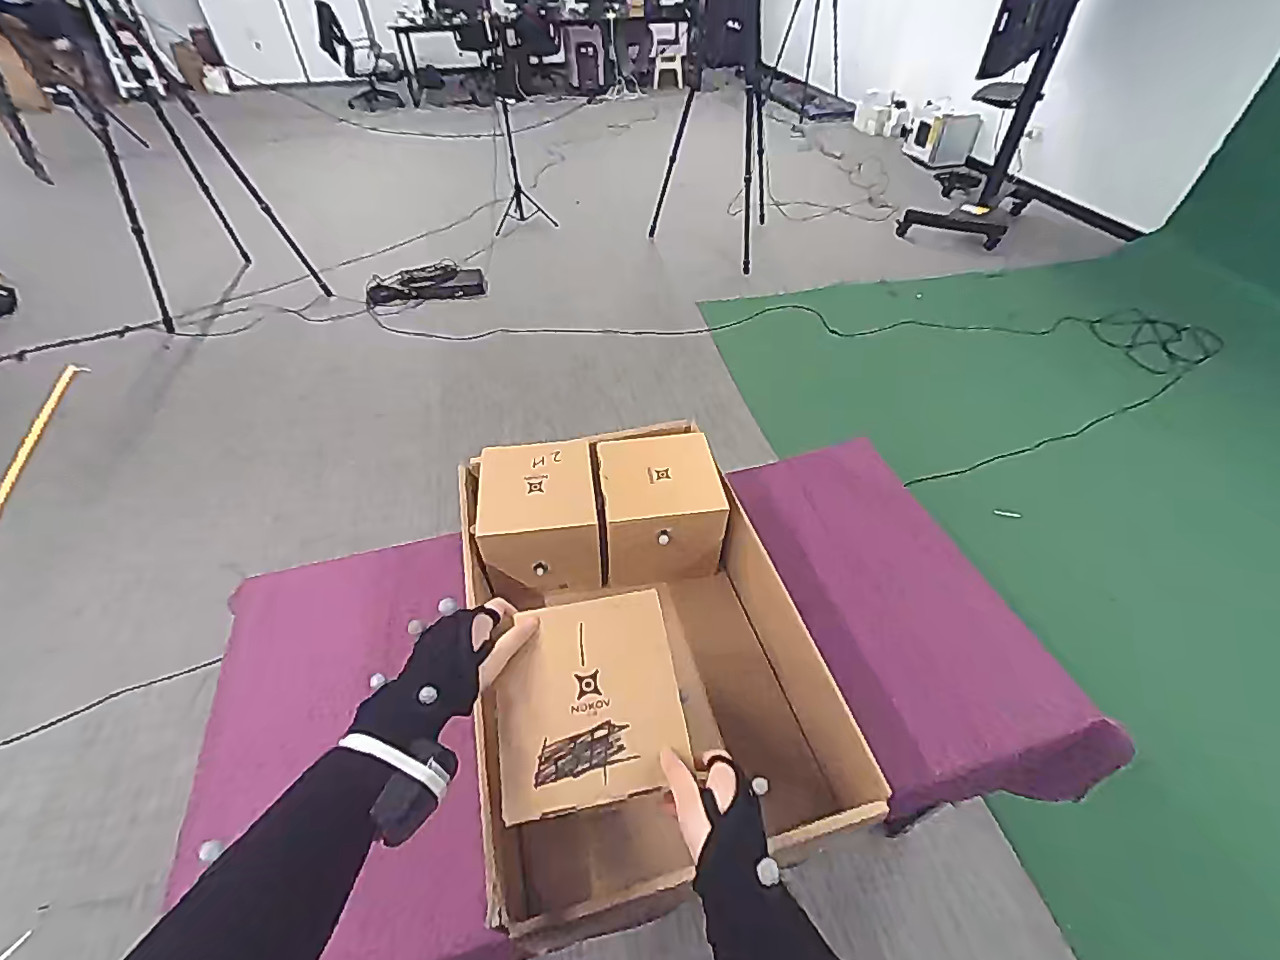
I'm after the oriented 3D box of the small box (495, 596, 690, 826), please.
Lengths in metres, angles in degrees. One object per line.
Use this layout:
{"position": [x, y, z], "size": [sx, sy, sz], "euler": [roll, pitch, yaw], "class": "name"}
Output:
{"position": [-0.049, 0.245, 0.573], "size": [0.168, 0.176, 0.179], "euler": [-10, 59, -6], "class": "small box"}
